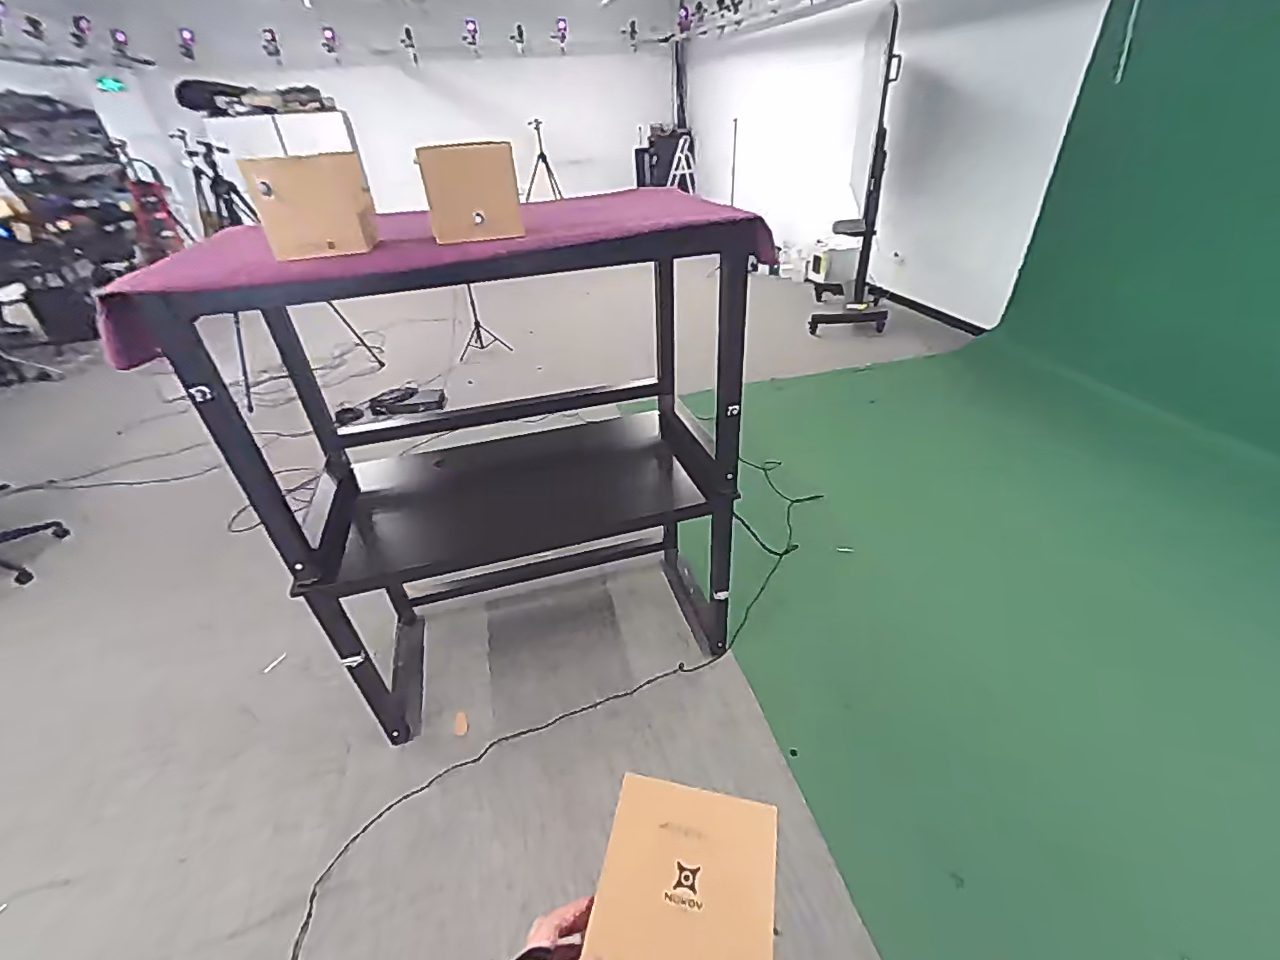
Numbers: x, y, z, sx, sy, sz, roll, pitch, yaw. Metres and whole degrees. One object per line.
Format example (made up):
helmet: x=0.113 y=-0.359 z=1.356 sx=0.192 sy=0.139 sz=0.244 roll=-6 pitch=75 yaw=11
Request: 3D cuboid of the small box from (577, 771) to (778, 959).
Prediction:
small box: x=0.045 y=0.441 z=0.554 sx=0.168 sy=0.176 sz=0.179 roll=8 pitch=38 yaw=11

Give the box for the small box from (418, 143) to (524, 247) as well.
small box: x=-0.336 y=-0.583 z=1.102 sx=0.179 sy=0.176 sz=0.168 roll=-11 pitch=33 yaw=-11
